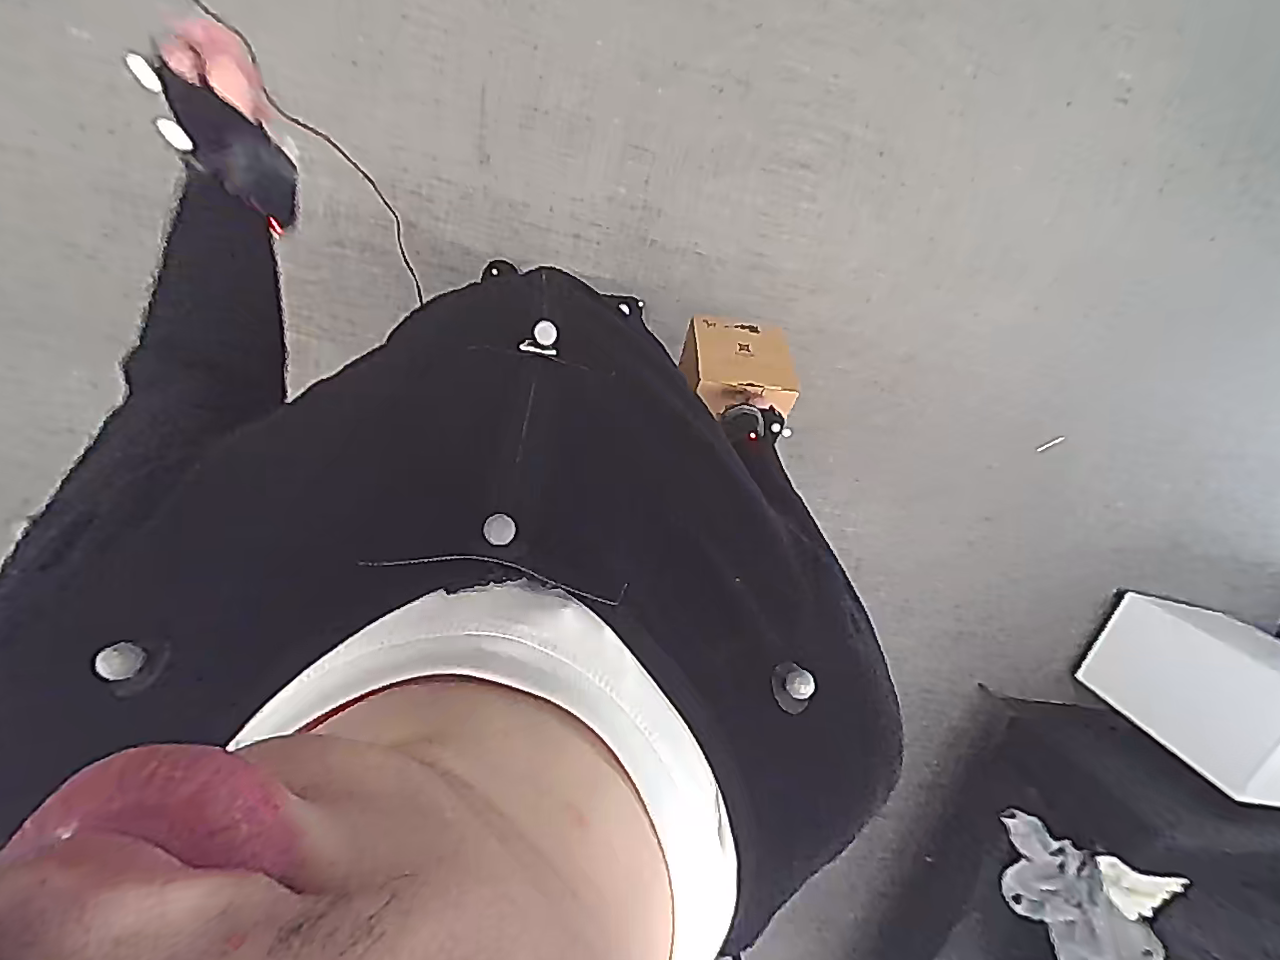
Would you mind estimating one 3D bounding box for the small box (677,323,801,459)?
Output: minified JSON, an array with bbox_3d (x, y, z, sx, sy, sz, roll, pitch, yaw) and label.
[{"bbox_3d":[0.165,-0.153,0.962,0.168,0.179,0.176,2,142,-7],"label":"small box"}]
